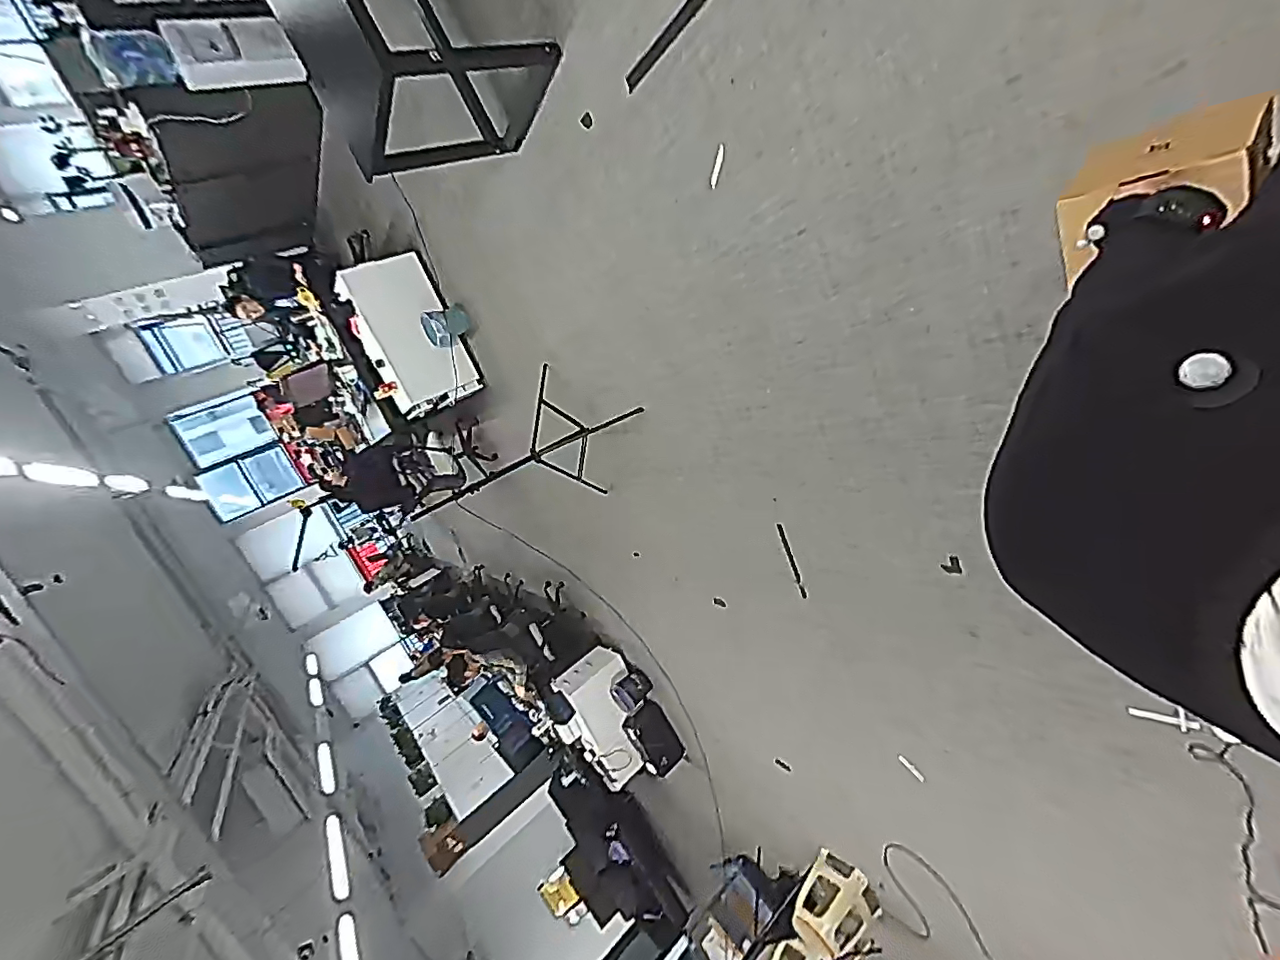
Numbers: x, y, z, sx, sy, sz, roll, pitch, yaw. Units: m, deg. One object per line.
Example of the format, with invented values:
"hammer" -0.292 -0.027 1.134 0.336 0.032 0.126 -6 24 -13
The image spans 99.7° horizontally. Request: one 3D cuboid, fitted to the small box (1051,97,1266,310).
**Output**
"small box" 0.660 -0.331 0.687 0.168 0.179 0.176 7 136 53
